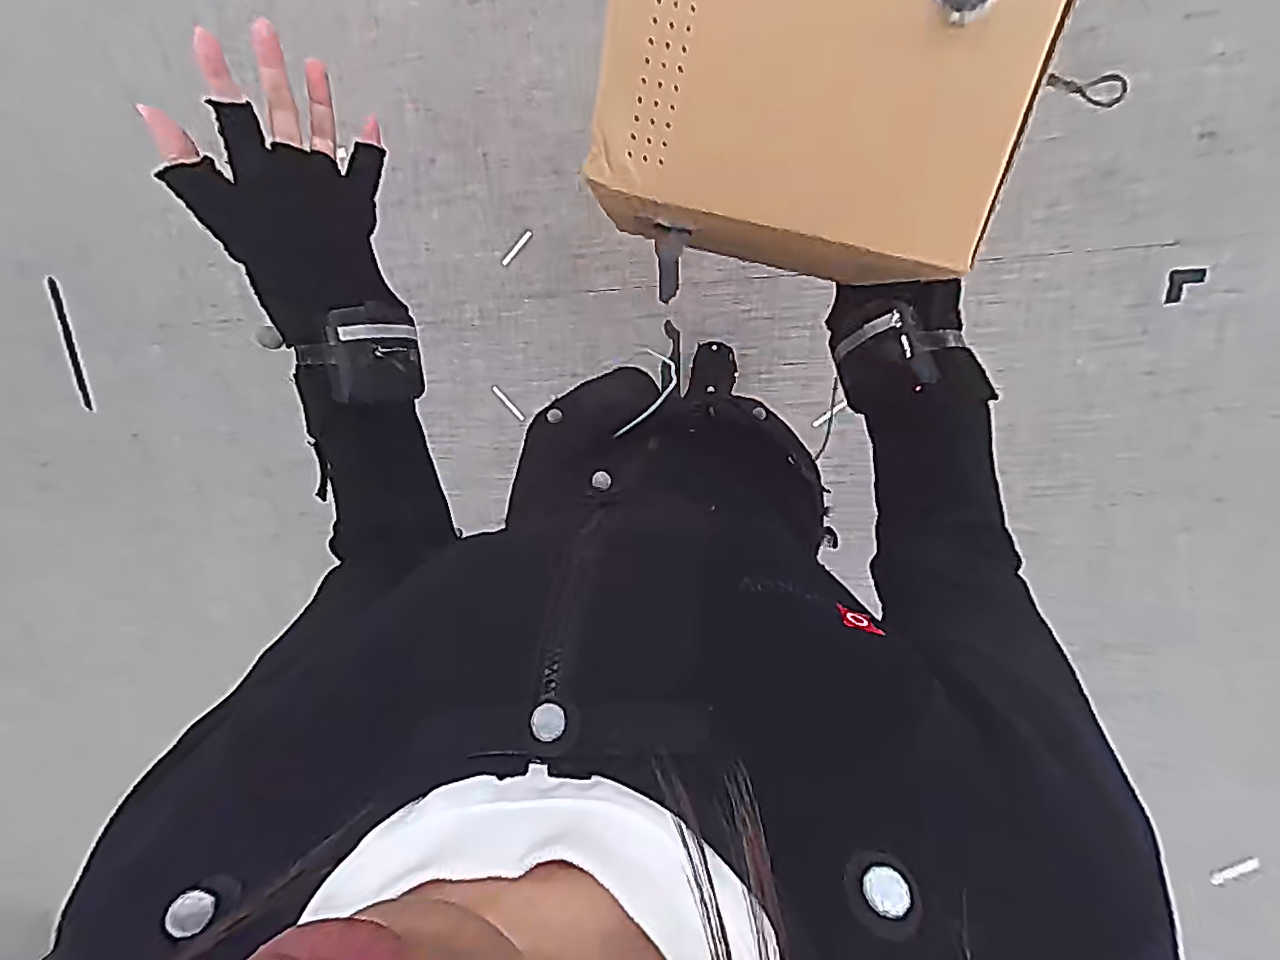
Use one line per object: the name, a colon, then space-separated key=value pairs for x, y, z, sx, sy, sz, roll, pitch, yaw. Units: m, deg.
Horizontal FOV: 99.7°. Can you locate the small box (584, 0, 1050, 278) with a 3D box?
small box: x=0.073 y=-0.215 z=0.278 sx=0.176 sy=0.168 sz=0.179 roll=13 pitch=109 yaw=1
